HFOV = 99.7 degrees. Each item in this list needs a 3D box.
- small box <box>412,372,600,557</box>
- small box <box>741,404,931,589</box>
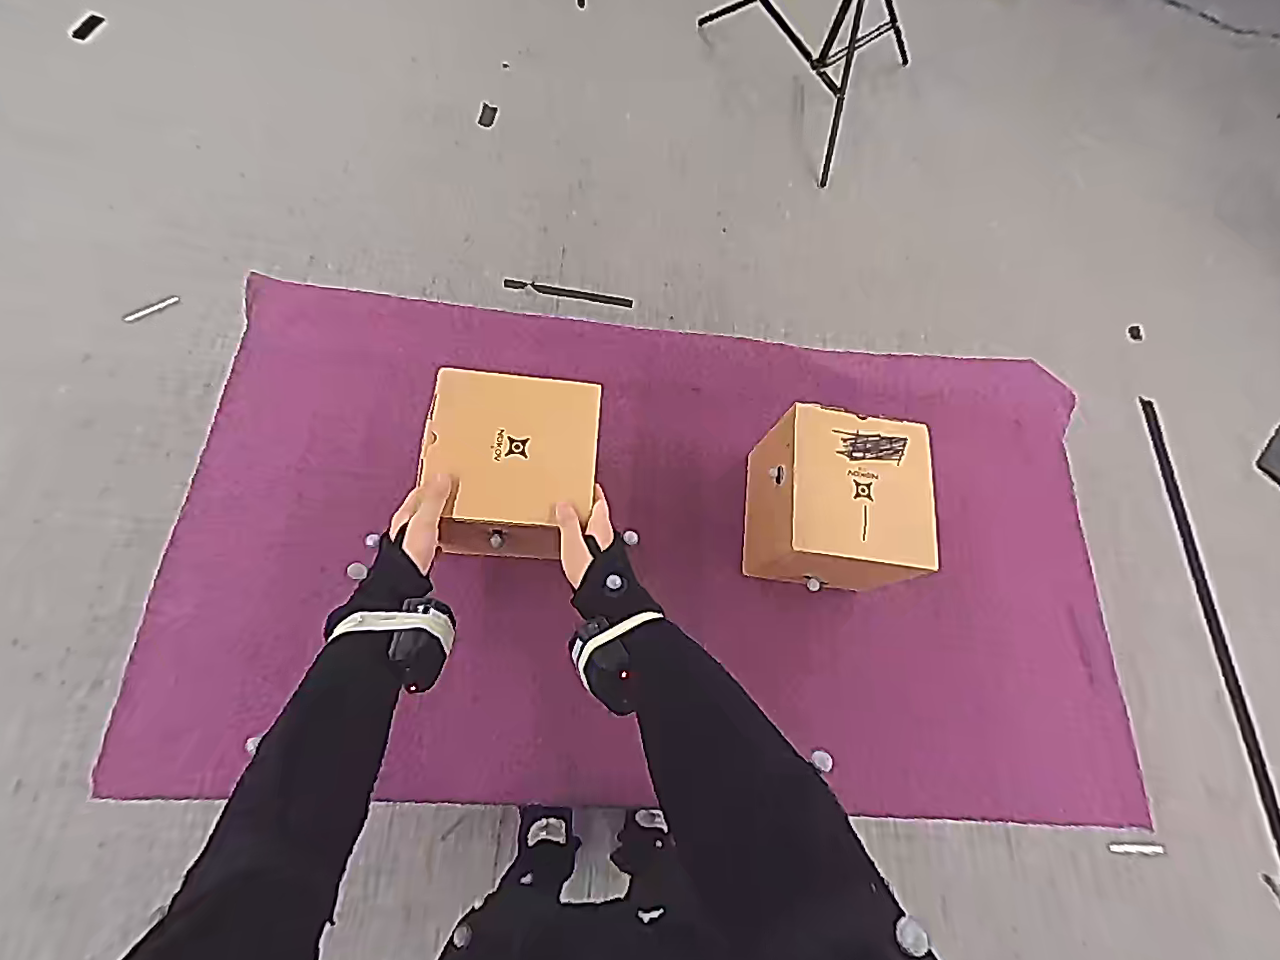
[{"bbox_3d":[-0.144,-0.007,0.635,0.179,0.176,0.168,4,71,-7],"label":"small box"},{"bbox_3d":[0.232,0.030,0.677,0.168,0.176,0.179,9,71,-5],"label":"small box"}]
